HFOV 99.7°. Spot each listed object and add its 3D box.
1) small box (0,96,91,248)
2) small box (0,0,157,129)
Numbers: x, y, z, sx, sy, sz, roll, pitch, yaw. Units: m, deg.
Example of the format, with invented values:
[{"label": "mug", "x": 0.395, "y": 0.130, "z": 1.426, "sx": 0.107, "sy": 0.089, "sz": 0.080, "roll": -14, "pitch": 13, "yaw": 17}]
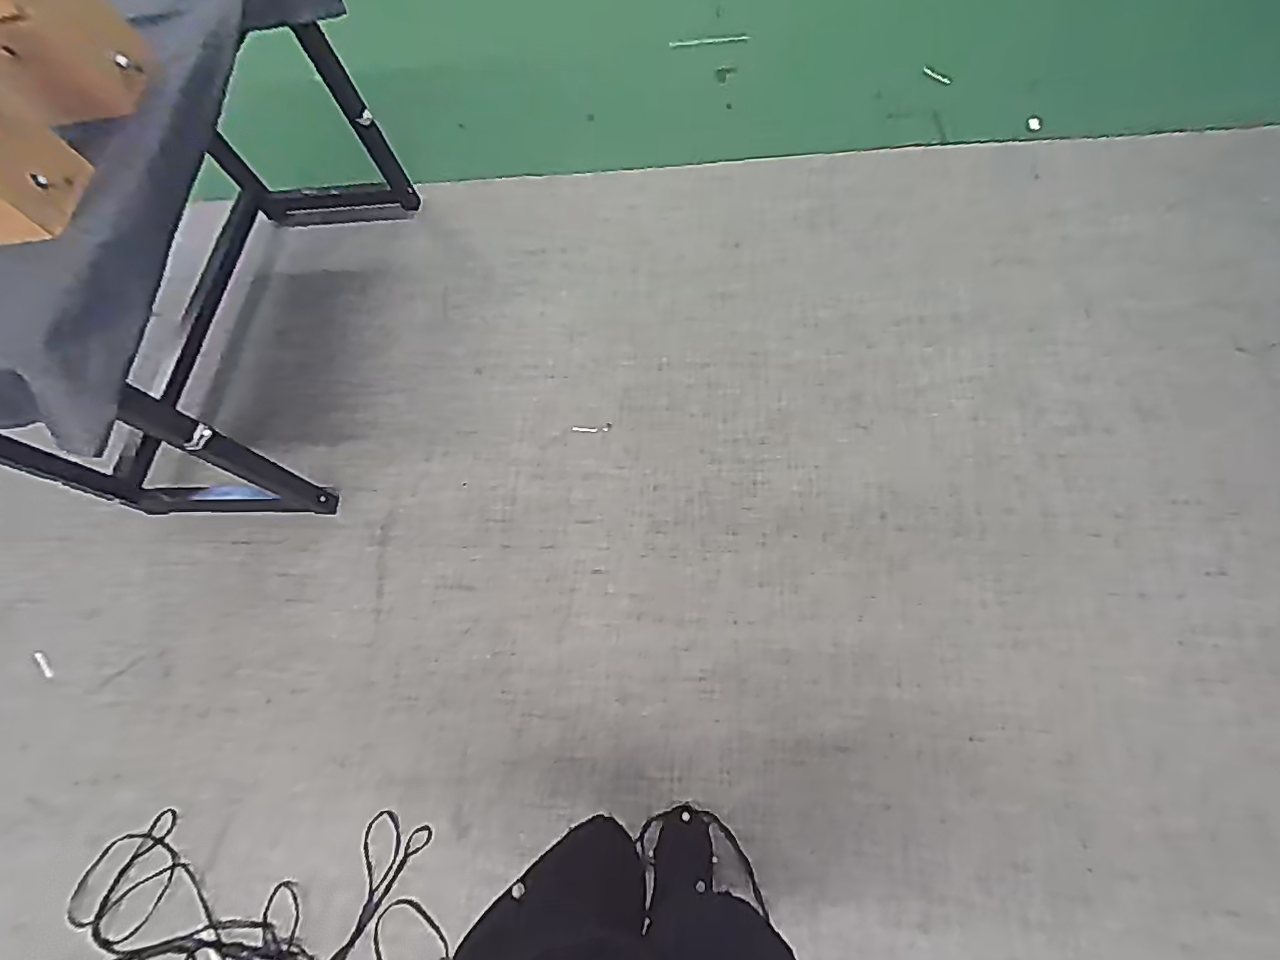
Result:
[{"label": "small box", "x": -1.066, "y": -0.492, "z": 0.865, "sx": 0.179, "sy": 0.176, "sz": 0.168, "roll": -3, "pitch": 67, "yaw": 6}, {"label": "small box", "x": -1.049, "y": -0.769, "z": 0.977, "sx": 0.179, "sy": 0.176, "sz": 0.168, "roll": -2, "pitch": 68, "yaw": 7}]
